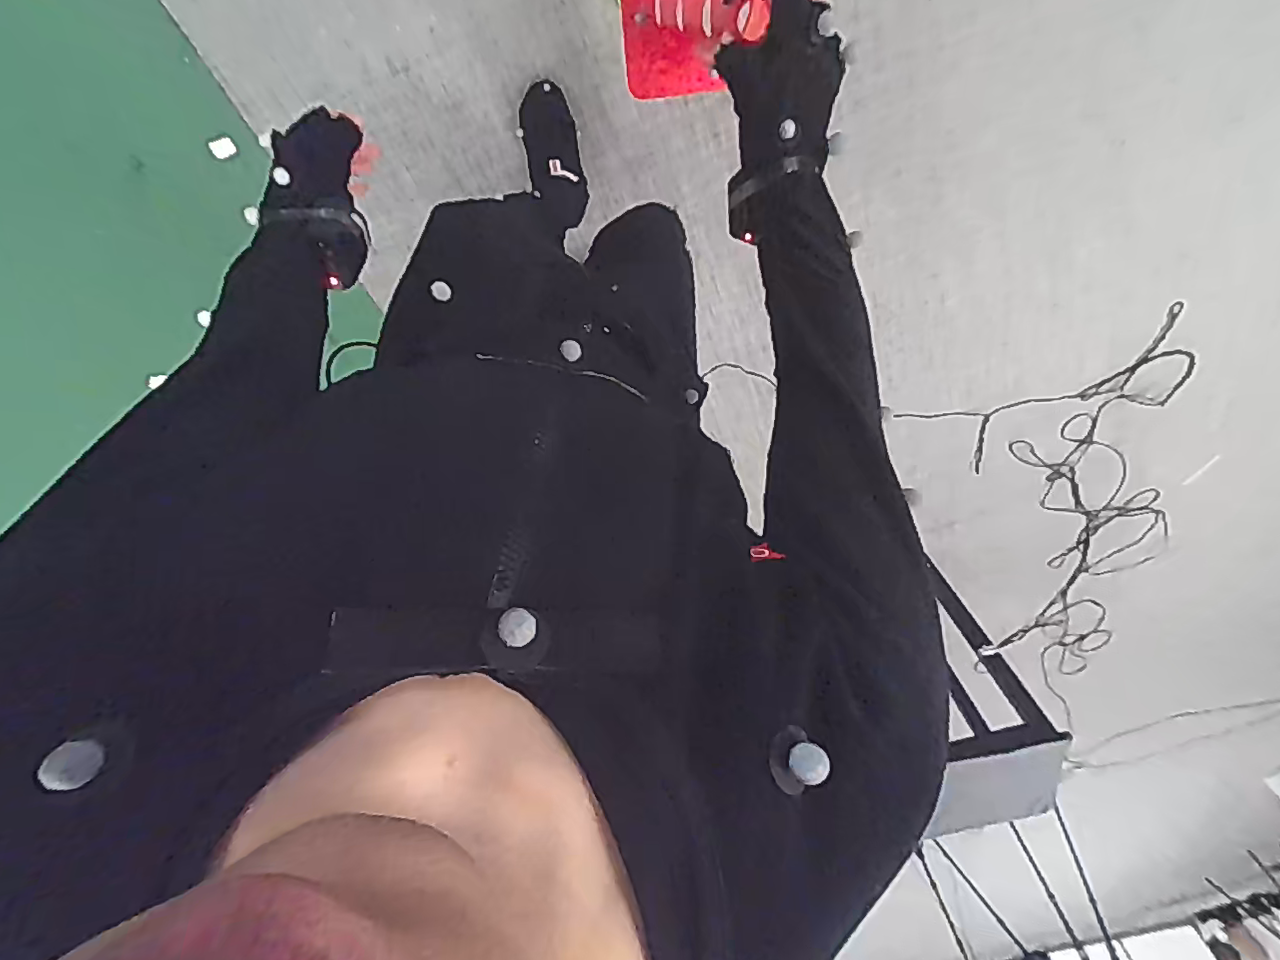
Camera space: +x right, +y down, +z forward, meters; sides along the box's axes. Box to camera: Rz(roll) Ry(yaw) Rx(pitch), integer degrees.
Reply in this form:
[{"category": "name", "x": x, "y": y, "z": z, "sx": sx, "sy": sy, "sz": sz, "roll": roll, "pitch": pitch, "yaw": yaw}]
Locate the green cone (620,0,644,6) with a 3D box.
[{"category": "green cone", "x": 0.038, "y": -0.872, "z": 0.796, "sx": 0.202, "sy": 0.368, "sz": 0.200, "roll": -22, "pitch": 127, "yaw": 9}]
